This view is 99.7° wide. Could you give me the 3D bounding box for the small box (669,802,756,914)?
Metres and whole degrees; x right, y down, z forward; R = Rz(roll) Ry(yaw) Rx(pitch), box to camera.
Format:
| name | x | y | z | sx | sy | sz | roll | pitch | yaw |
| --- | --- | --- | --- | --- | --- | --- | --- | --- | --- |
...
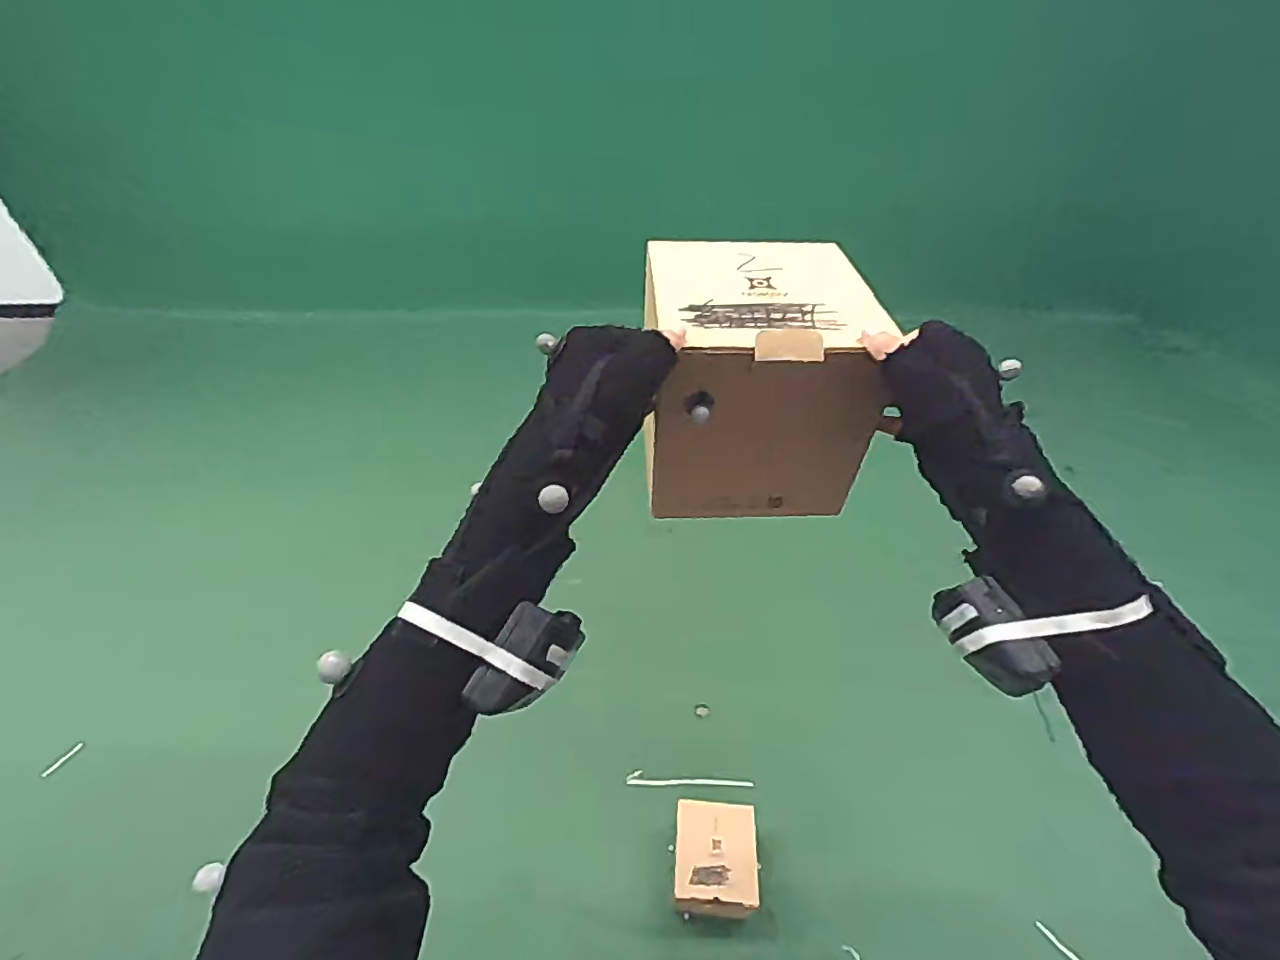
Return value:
| name | x | y | z | sx | sy | sz | roll | pitch | yaw |
| --- | --- | --- | --- | --- | --- | --- | --- | --- | --- |
| small box | 0.149 | 0.815 | 1.162 | 0.168 | 0.176 | 0.179 | 1 | 46 | 2 |
